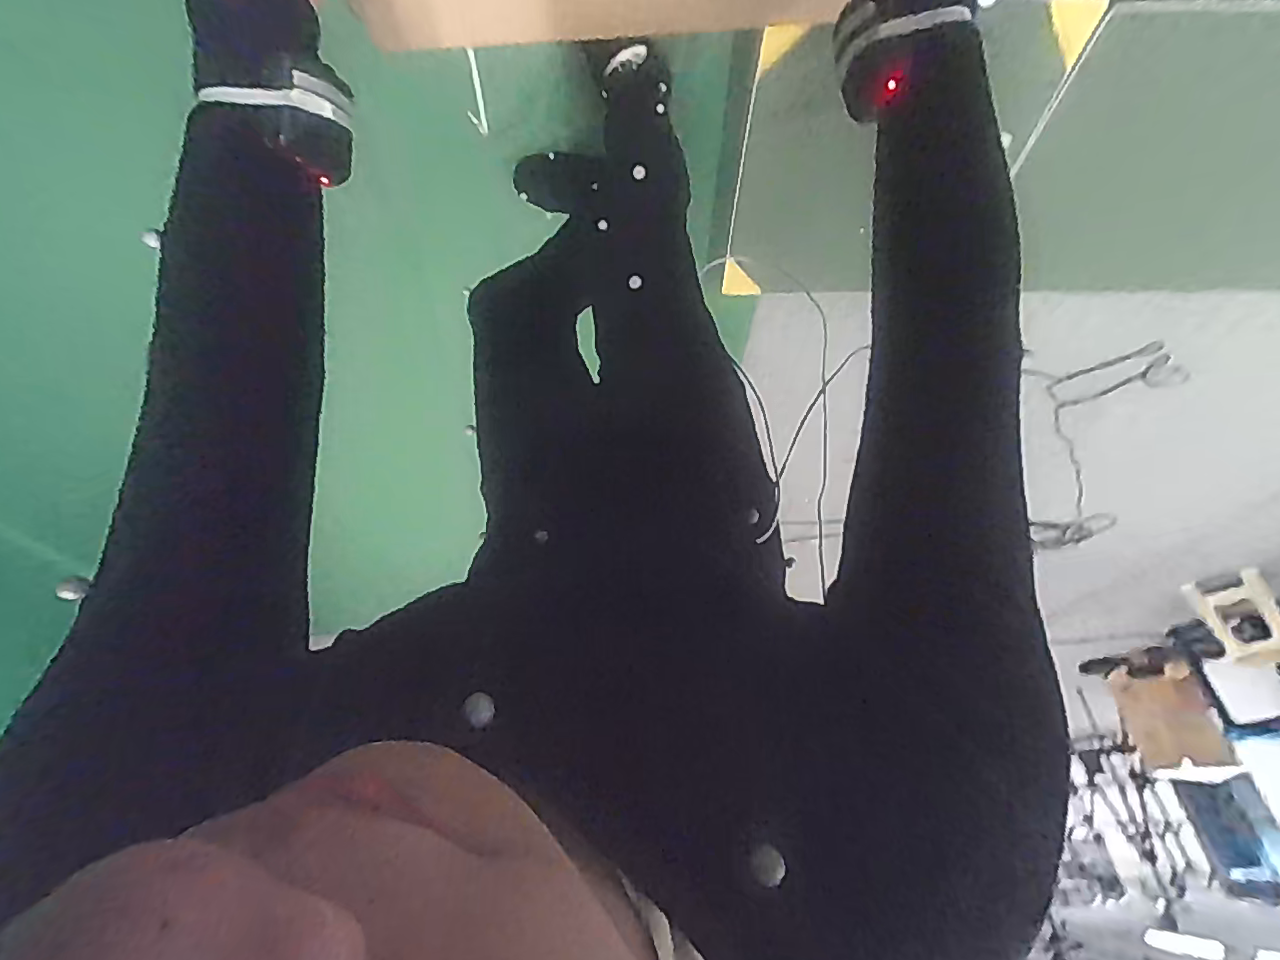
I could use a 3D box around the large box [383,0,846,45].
[{"bbox_3d":[-0.032,-0.599,0.406,0.408,0.320,0.320,-3,155,1],"label":"large box"}]
